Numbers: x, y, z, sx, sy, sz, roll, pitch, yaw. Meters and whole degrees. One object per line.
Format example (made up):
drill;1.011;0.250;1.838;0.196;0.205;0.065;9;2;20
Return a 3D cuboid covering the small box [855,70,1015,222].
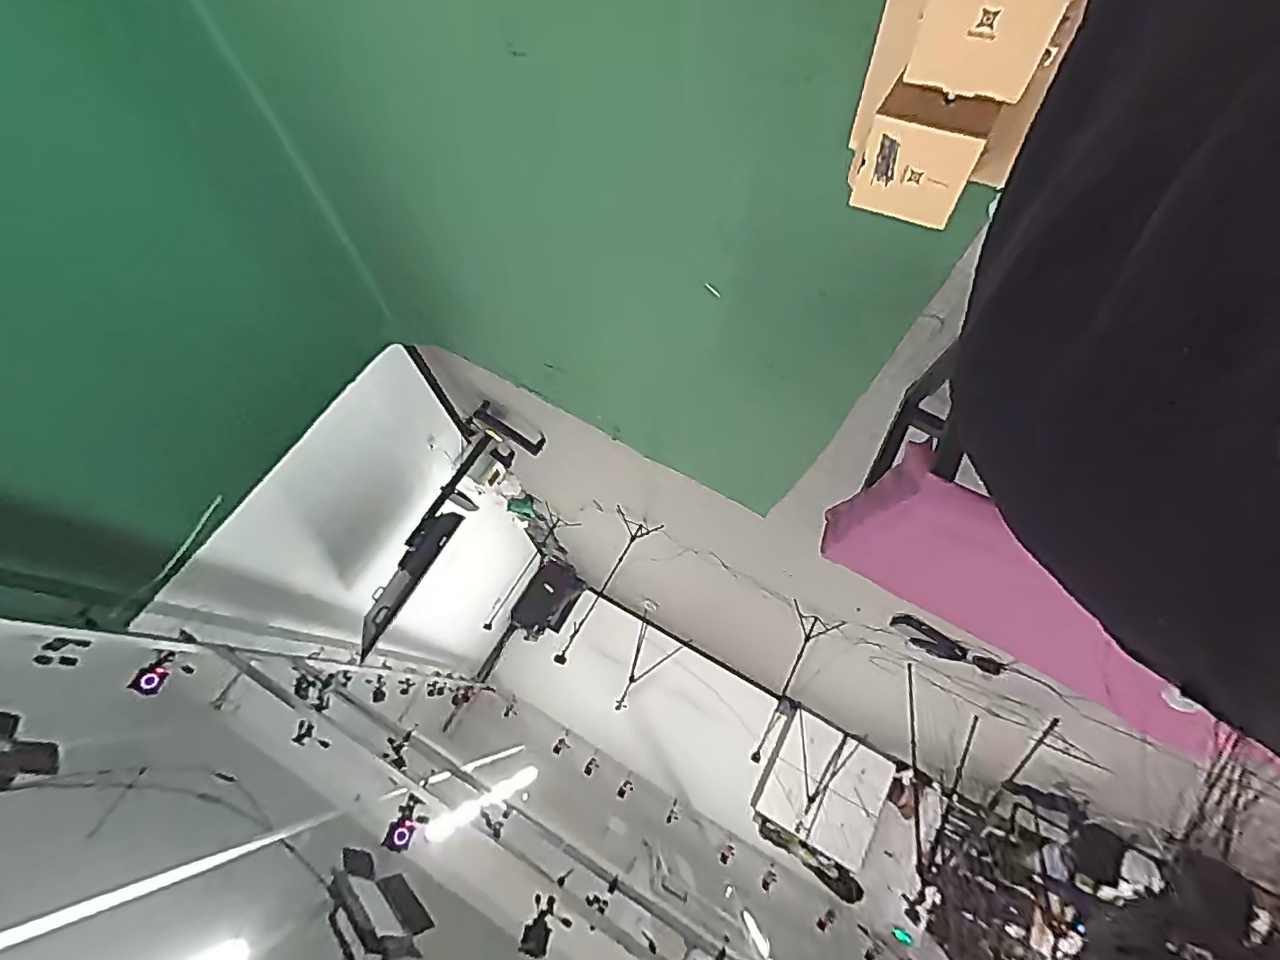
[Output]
small box;0.507;-0.591;0.934;0.179;0.176;0.168;26;160;17

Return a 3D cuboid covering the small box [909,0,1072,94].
small box;0.502;-0.678;0.733;0.168;0.176;0.179;25;159;16
